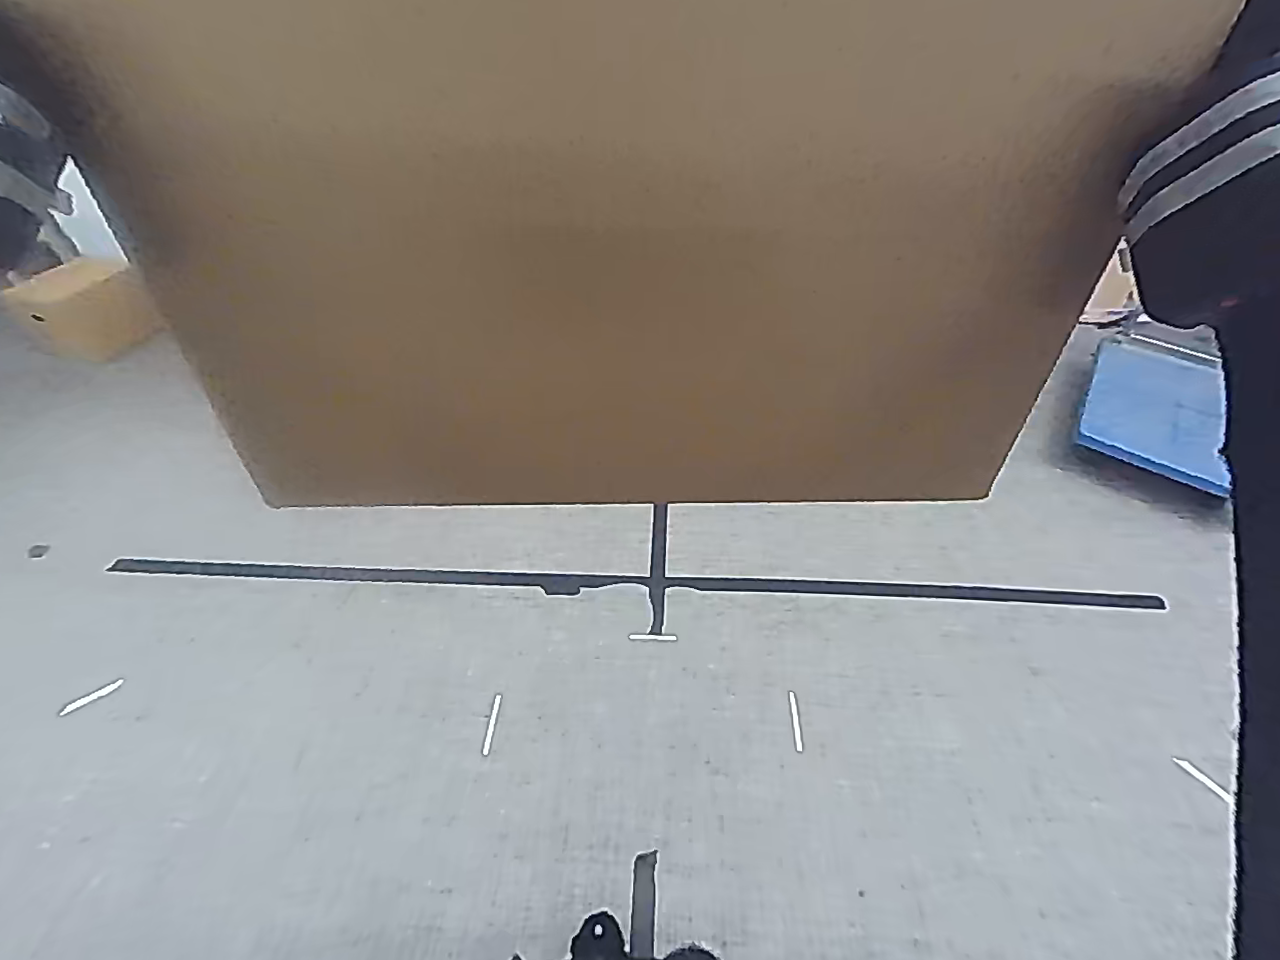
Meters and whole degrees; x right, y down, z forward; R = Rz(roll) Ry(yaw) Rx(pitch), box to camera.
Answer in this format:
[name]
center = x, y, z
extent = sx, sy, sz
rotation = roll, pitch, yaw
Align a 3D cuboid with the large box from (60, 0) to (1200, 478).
[large box]
center = -0.005, -0.210, 0.335
extent = 0.408, 0.320, 0.320
rotation = 0, 39, -2
